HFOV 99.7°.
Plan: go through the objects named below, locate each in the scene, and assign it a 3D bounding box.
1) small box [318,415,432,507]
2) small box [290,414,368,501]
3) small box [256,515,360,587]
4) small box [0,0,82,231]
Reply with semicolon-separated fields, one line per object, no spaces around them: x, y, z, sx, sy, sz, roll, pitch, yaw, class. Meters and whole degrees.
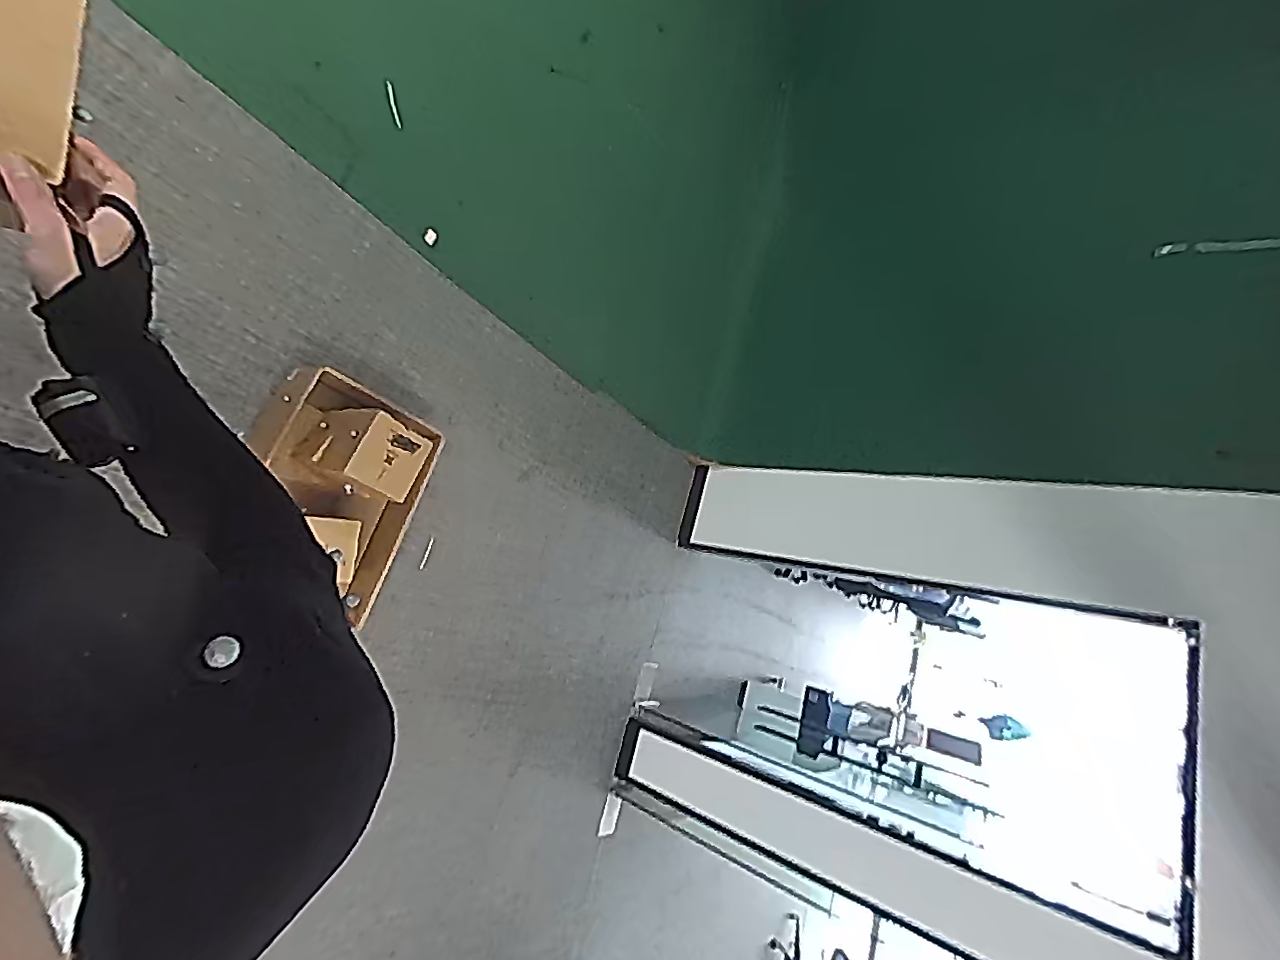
-0.673;-0.050;1.370;0.168;0.176;0.179;42;62;-46;small box
-0.801;-0.061;1.471;0.179;0.176;0.168;51;56;-43;small box
-0.867;0.185;1.408;0.179;0.176;0.168;14;82;-51;small box
-0.557;-0.317;0.407;0.168;0.176;0.179;8;87;-52;small box
